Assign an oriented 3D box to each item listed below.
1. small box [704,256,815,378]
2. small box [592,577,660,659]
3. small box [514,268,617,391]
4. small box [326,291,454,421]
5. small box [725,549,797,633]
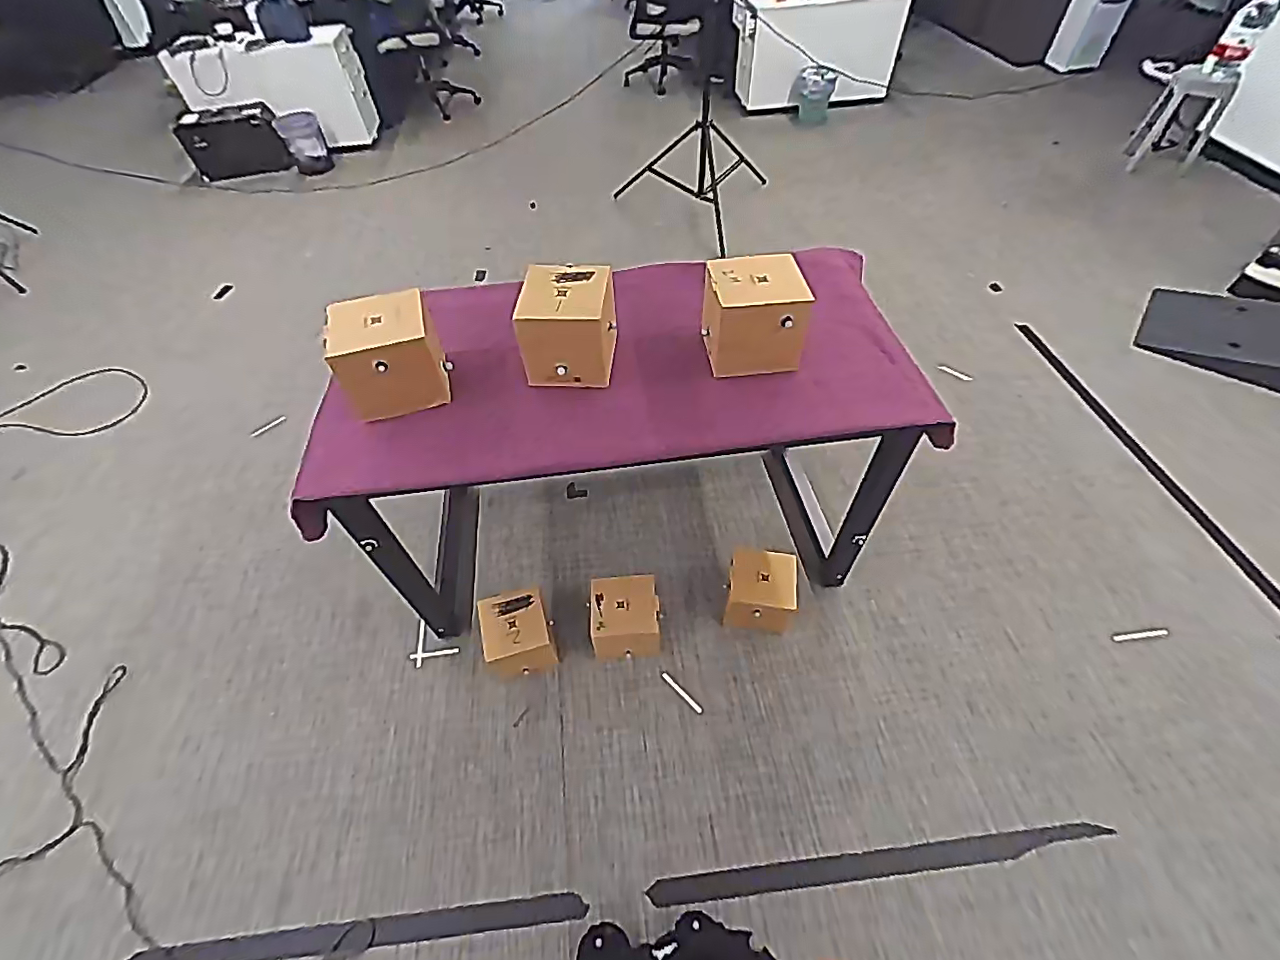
[{"bbox_3d":[0.229,-0.325,1.088,0.179,0.176,0.168,-6,51,-1],"label":"small box"},{"bbox_3d":[-0.037,0.380,1.478,0.179,0.176,0.168,-4,52,0],"label":"small box"},{"bbox_3d":[-0.140,-0.303,1.091,0.168,0.176,0.179,2,53,5],"label":"small box"},{"bbox_3d":[-0.484,-0.238,1.059,0.179,0.176,0.168,-15,54,-10],"label":"small box"},{"bbox_3d":[0.336,0.314,1.512,0.179,0.176,0.168,6,53,9],"label":"small box"}]
